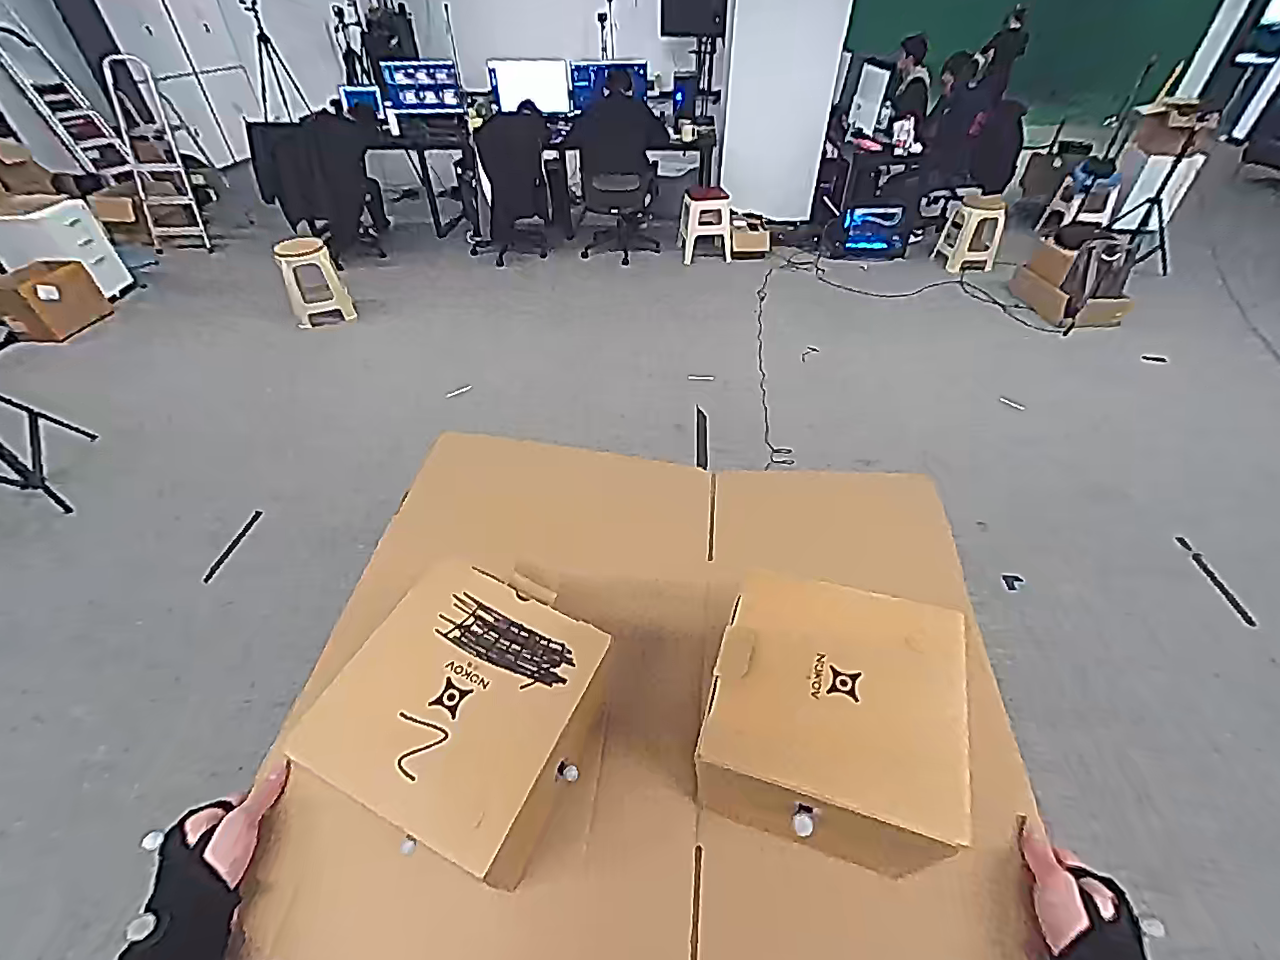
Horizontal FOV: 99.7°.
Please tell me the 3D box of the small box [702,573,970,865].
[{"bbox_3d":[0.163,0.209,0.471,0.179,0.176,0.168,10,51,19],"label":"small box"}]
